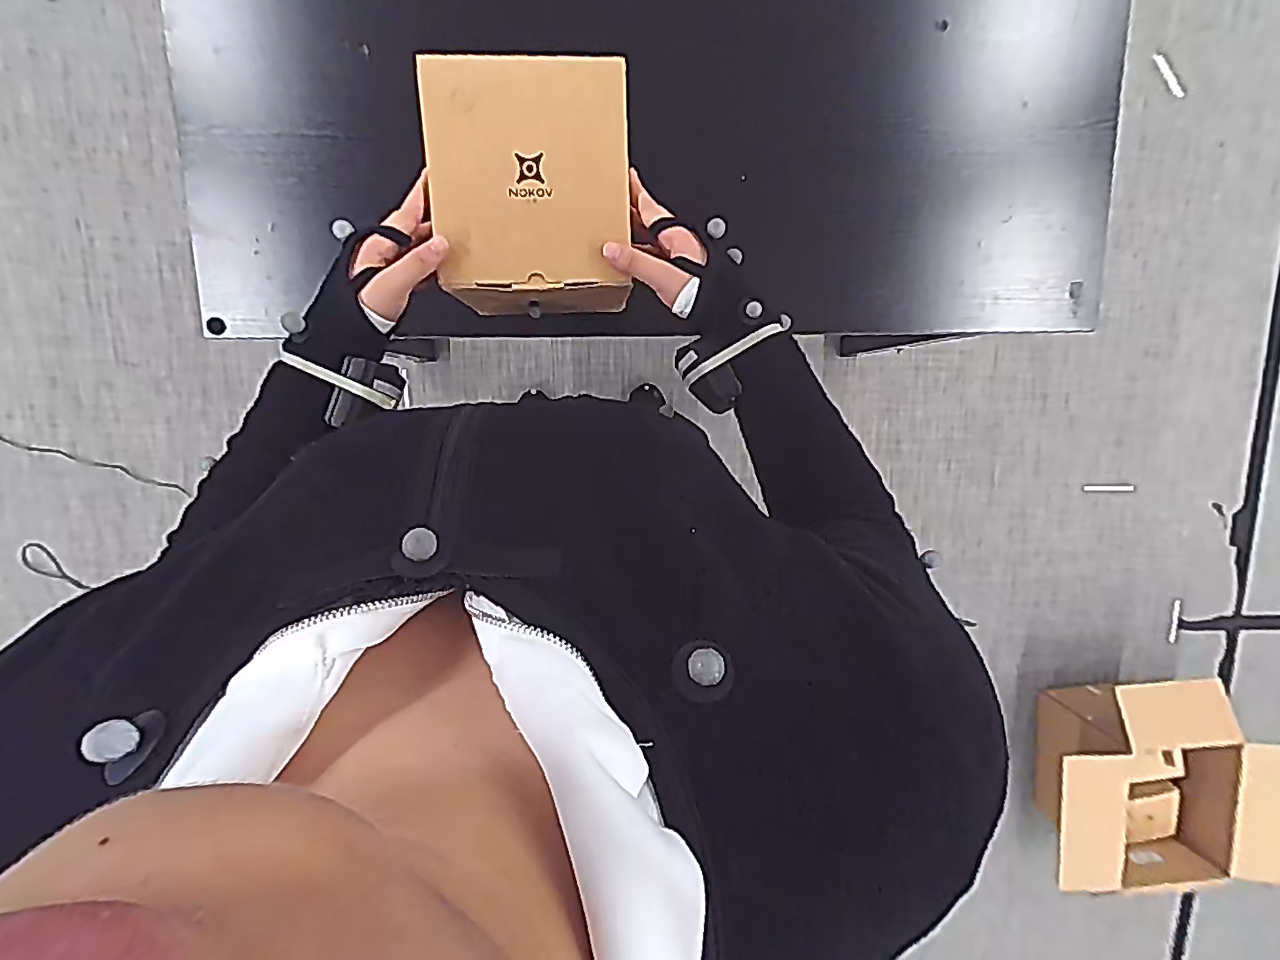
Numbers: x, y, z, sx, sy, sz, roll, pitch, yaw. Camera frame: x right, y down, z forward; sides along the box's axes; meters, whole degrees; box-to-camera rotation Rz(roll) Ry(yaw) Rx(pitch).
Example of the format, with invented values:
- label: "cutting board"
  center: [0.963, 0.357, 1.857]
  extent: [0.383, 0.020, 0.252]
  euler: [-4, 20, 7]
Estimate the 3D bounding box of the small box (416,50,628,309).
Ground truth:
- label: "small box"
  center: [-0.100, -0.268, 0.521]
  extent: [0.168, 0.176, 0.179]
  euler: [-3, 101, -4]
